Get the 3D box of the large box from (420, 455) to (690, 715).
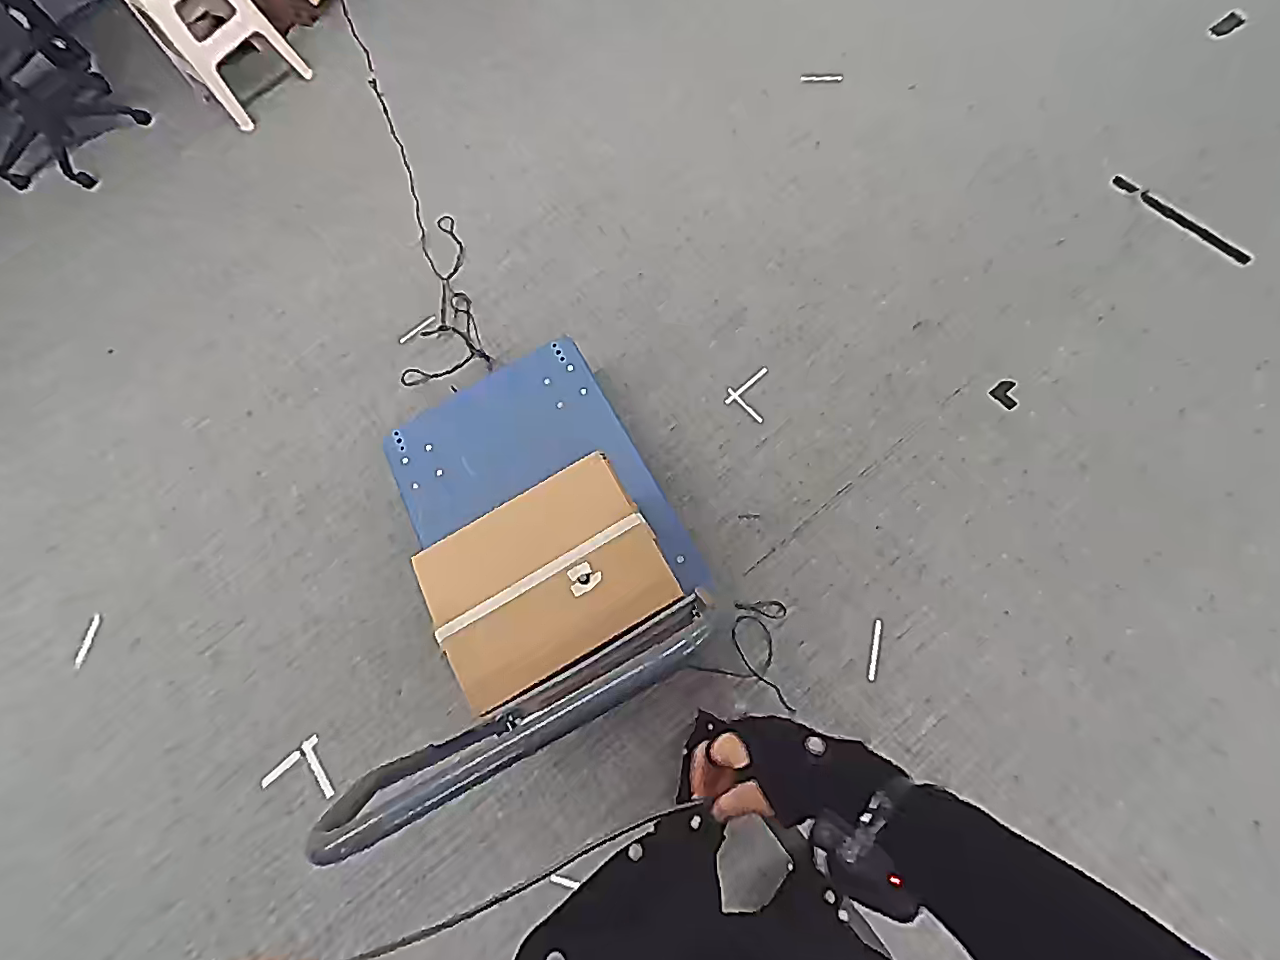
[{"bbox_3d":[-0.148,0.222,1.097,0.408,0.320,0.320,-30,70,-3],"label":"large box"}]
